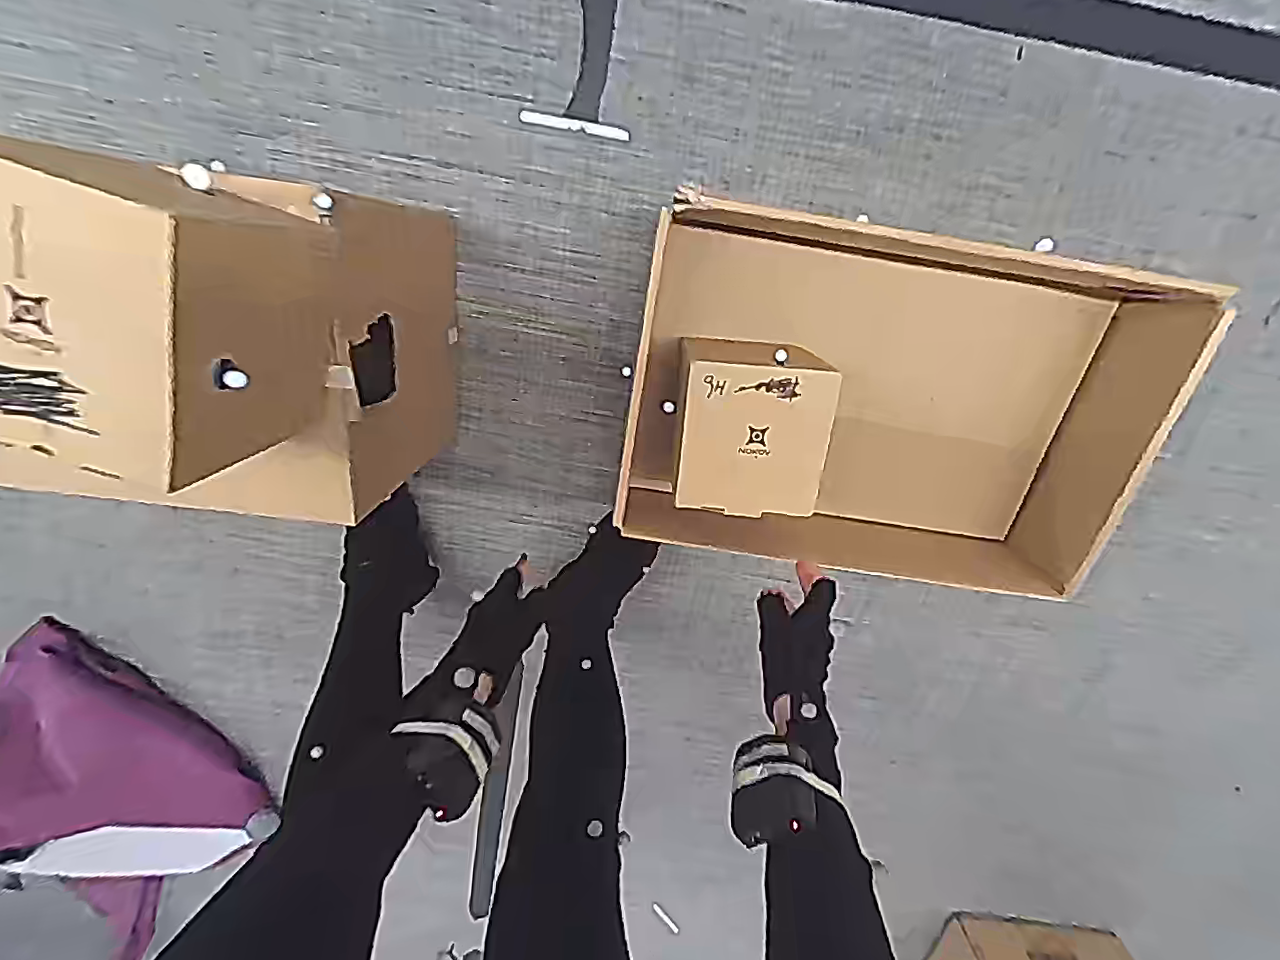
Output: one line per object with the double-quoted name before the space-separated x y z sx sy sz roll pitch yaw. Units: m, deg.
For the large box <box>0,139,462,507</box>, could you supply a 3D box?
"large box" -0.459 -0.183 0.637 0.408 0.320 0.320 5 113 -2
